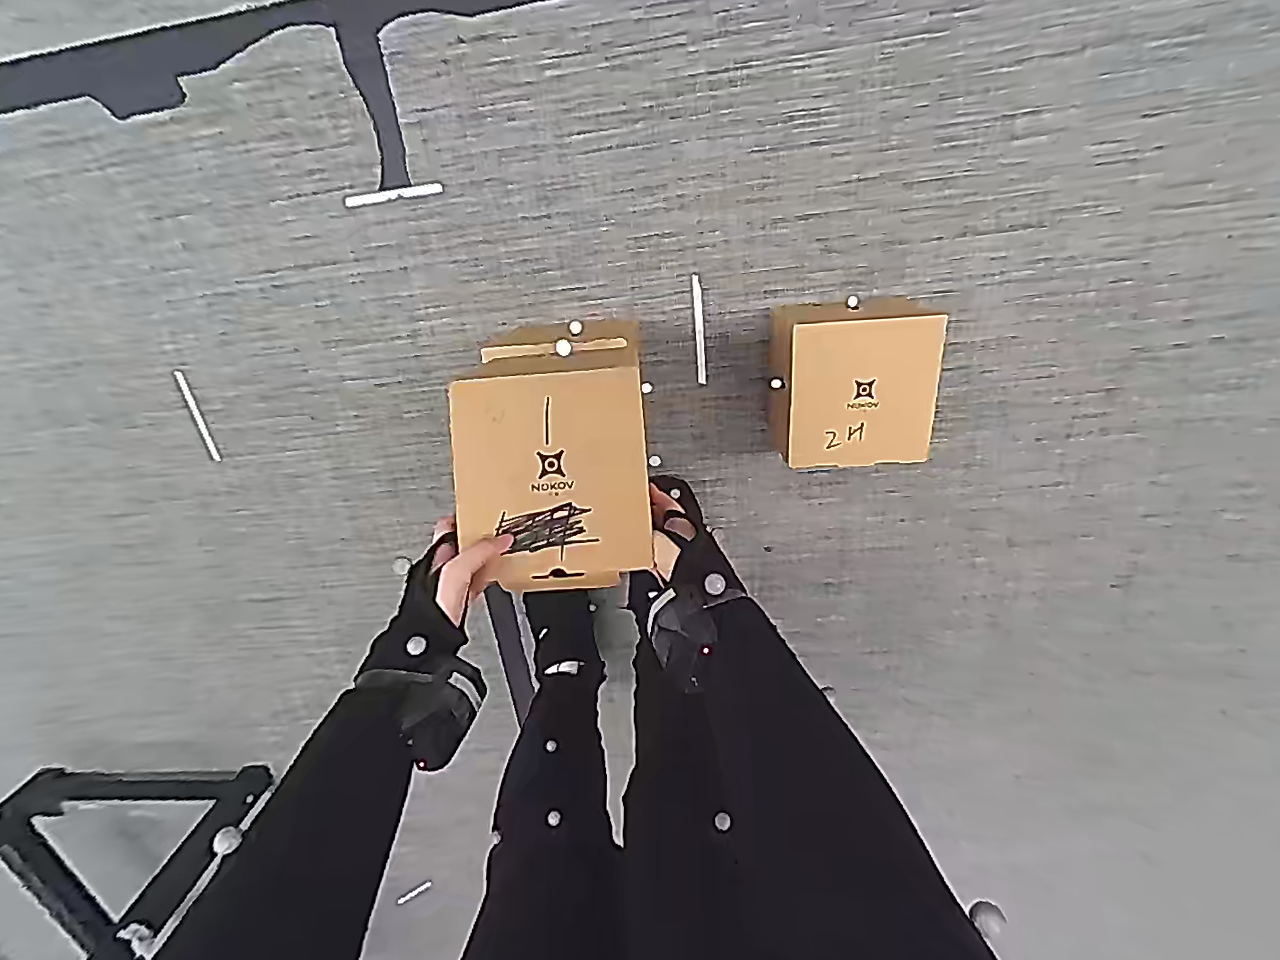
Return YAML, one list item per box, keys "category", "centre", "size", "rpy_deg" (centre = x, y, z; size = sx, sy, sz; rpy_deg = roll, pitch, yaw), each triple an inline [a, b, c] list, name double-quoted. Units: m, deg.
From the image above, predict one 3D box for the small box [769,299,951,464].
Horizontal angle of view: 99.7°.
- category: "small box"
  centre: [0.261, -0.133, 0.688]
  size: [0.168, 0.176, 0.179]
  rpy_deg: [-2, 115, 5]

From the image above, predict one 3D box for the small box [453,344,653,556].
- category: "small box"
  centre: [-0.074, -0.040, 0.556]
  size: [0.168, 0.176, 0.179]
  rpy_deg: [-4, 108, -1]

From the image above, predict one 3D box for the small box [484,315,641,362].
- category: "small box"
  centre: [-0.086, -0.122, 0.717]
  size: [0.179, 0.176, 0.168]
  rpy_deg: [-2, 114, 4]
